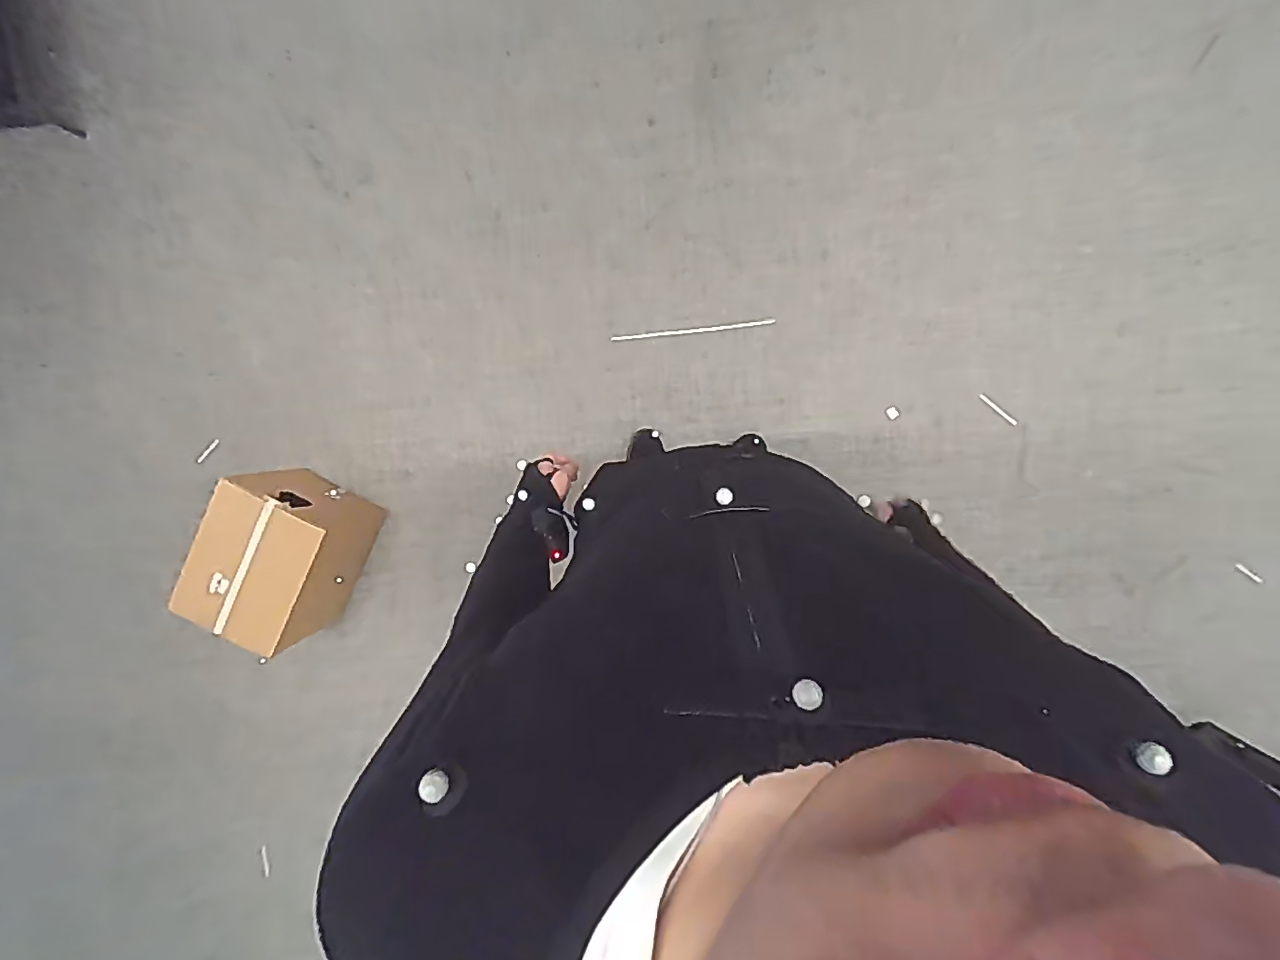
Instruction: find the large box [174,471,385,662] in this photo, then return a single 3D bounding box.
[{"bbox_3d":[-1.016,0.228,1.564,0.320,0.320,0.408,27,98,1],"label":"large box"}]
